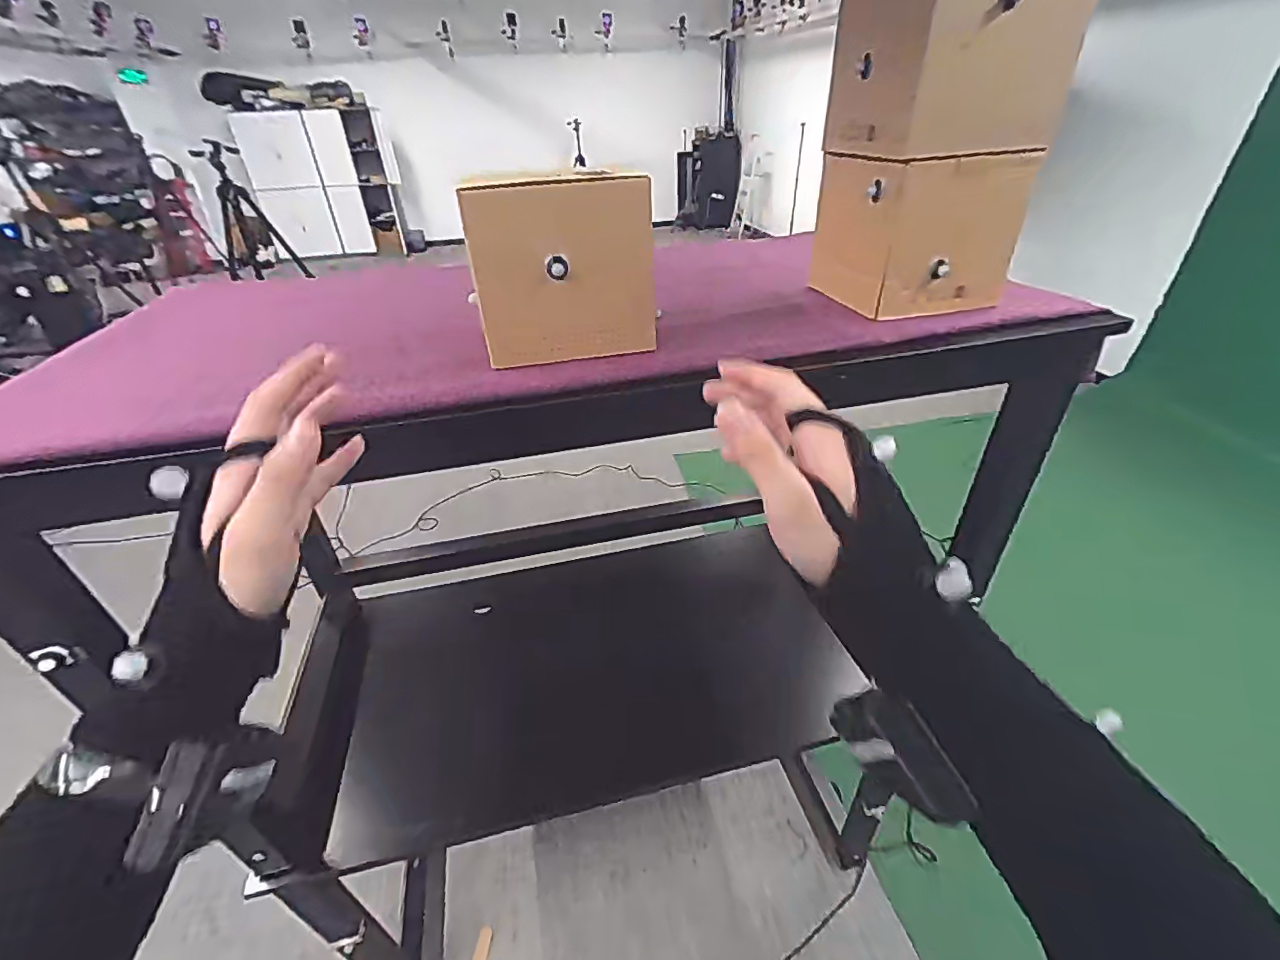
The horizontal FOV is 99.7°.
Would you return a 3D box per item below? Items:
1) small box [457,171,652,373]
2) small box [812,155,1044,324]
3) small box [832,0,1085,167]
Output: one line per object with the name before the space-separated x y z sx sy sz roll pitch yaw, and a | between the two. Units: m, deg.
small box | -0.086 -0.231 0.591 0.179 0.176 0.168 -10 33 -8
small box | 0.332 -0.303 0.670 0.168 0.176 0.179 -9 35 -9
small box | 0.320 -0.435 0.570 0.179 0.176 0.168 -9 36 -9
